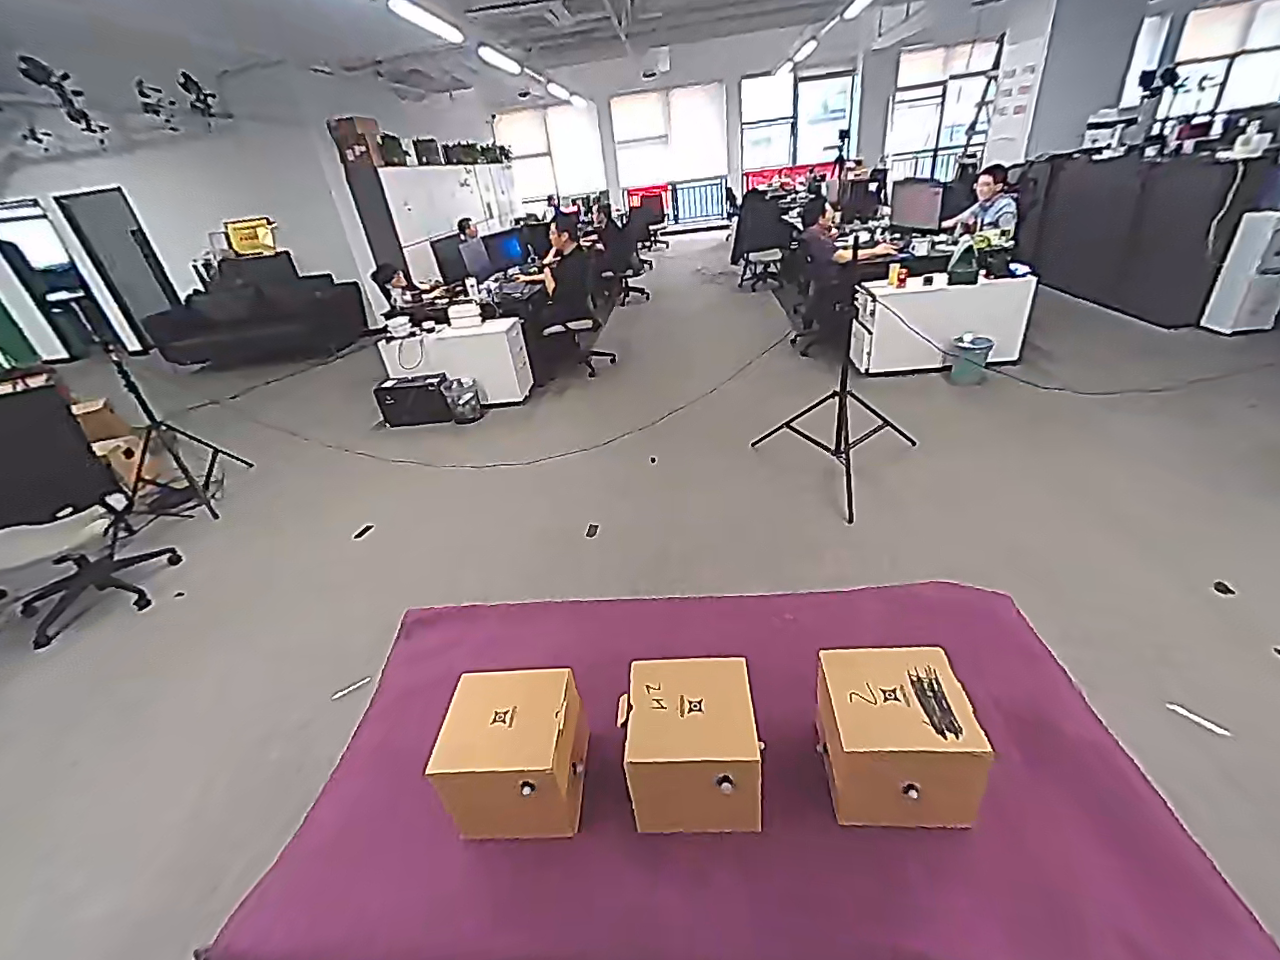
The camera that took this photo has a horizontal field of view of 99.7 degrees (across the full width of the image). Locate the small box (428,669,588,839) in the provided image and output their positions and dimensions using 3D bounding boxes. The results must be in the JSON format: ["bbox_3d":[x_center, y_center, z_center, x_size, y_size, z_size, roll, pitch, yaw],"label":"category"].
[{"bbox_3d":[-0.183,0.410,0.811,0.179,0.176,0.168,-5,30,4],"label":"small box"}]

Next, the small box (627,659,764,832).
[{"bbox_3d":[0.082,0.385,0.789,0.179,0.176,0.168,-5,29,6],"label":"small box"}]
